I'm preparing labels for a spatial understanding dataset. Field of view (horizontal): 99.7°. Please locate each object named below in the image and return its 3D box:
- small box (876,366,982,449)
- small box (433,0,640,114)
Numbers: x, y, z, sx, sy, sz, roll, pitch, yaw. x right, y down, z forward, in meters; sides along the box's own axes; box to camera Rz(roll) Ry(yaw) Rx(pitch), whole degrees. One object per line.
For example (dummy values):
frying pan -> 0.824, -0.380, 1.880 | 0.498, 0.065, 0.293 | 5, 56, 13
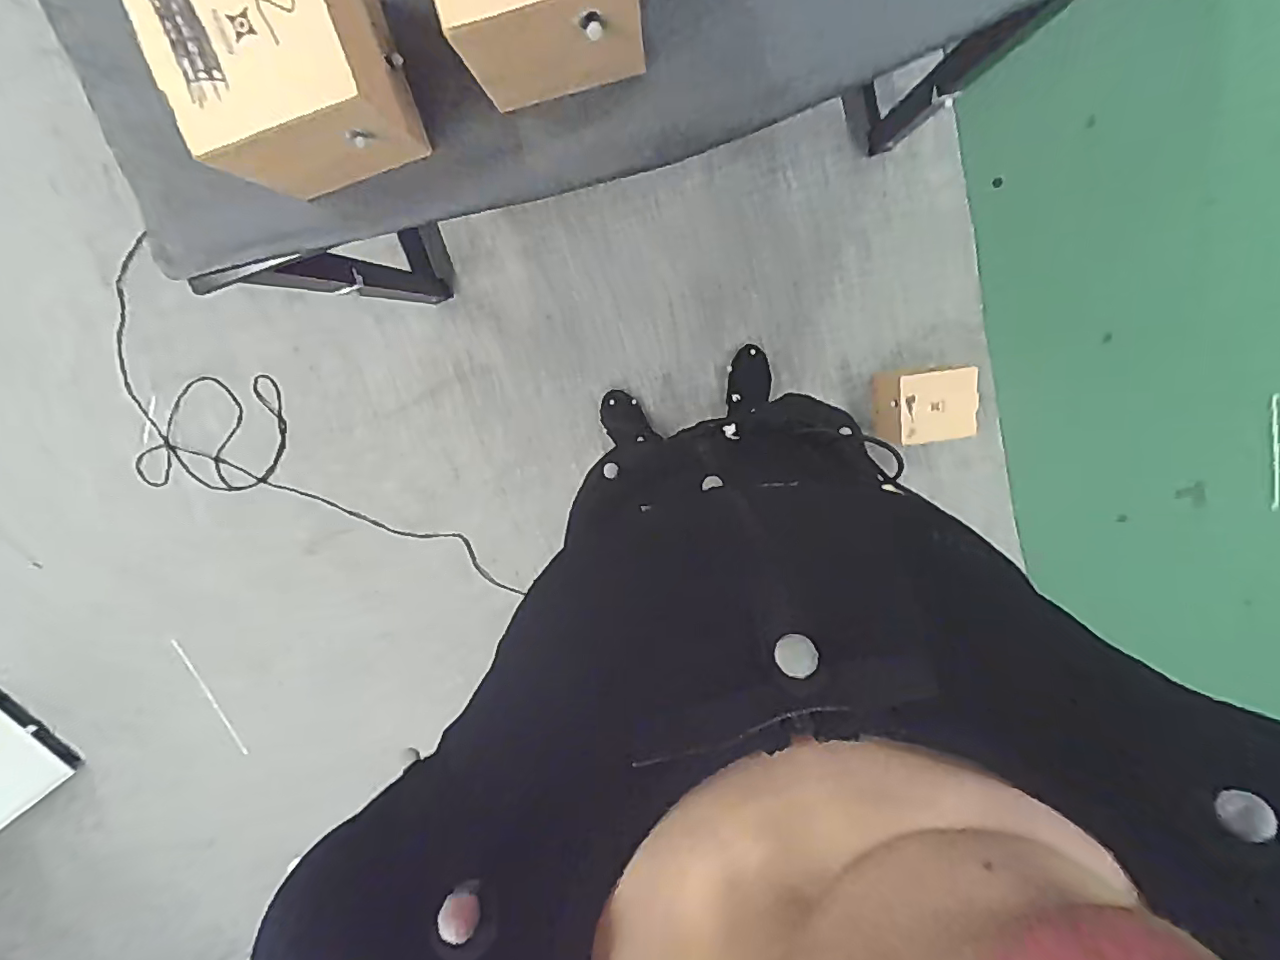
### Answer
small box -> 0.700, -0.182, 1.323 | 0.179, 0.176, 0.168 | -7, 105, 5
small box -> -0.099, -0.495, 0.523 | 0.179, 0.176, 0.168 | -11, 102, 7
